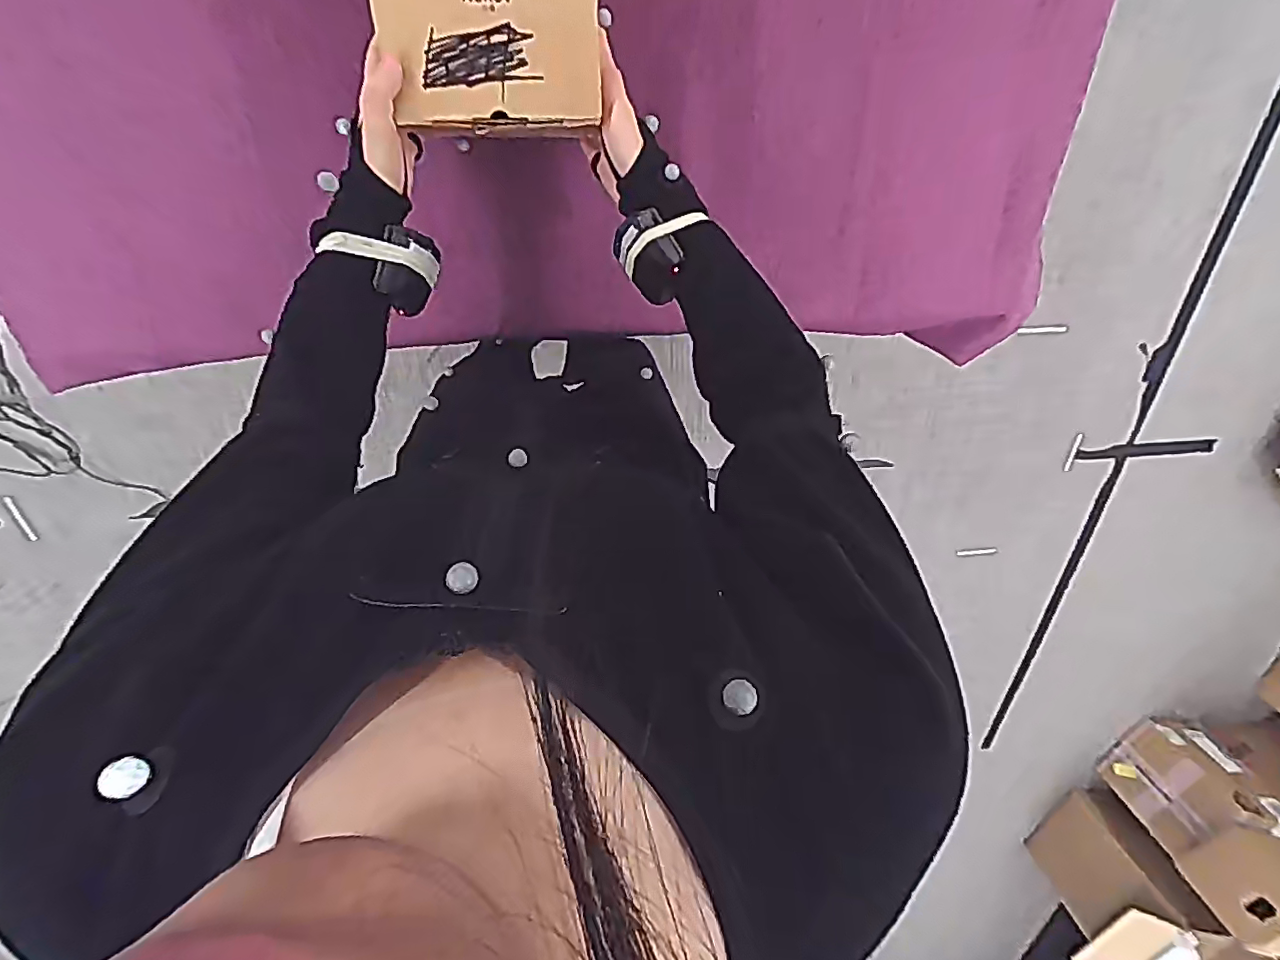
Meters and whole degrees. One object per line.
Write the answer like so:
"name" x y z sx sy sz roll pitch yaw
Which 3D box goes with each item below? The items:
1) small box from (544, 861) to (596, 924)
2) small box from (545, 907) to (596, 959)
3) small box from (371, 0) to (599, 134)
"small box" -0.264 1.566 2.033 0.179 0.176 0.168 -5 118 -4
"small box" -0.240 1.636 1.888 0.168 0.176 0.179 -4 118 -6
"small box" -0.121 -0.400 0.458 0.168 0.176 0.179 -4 119 -6
